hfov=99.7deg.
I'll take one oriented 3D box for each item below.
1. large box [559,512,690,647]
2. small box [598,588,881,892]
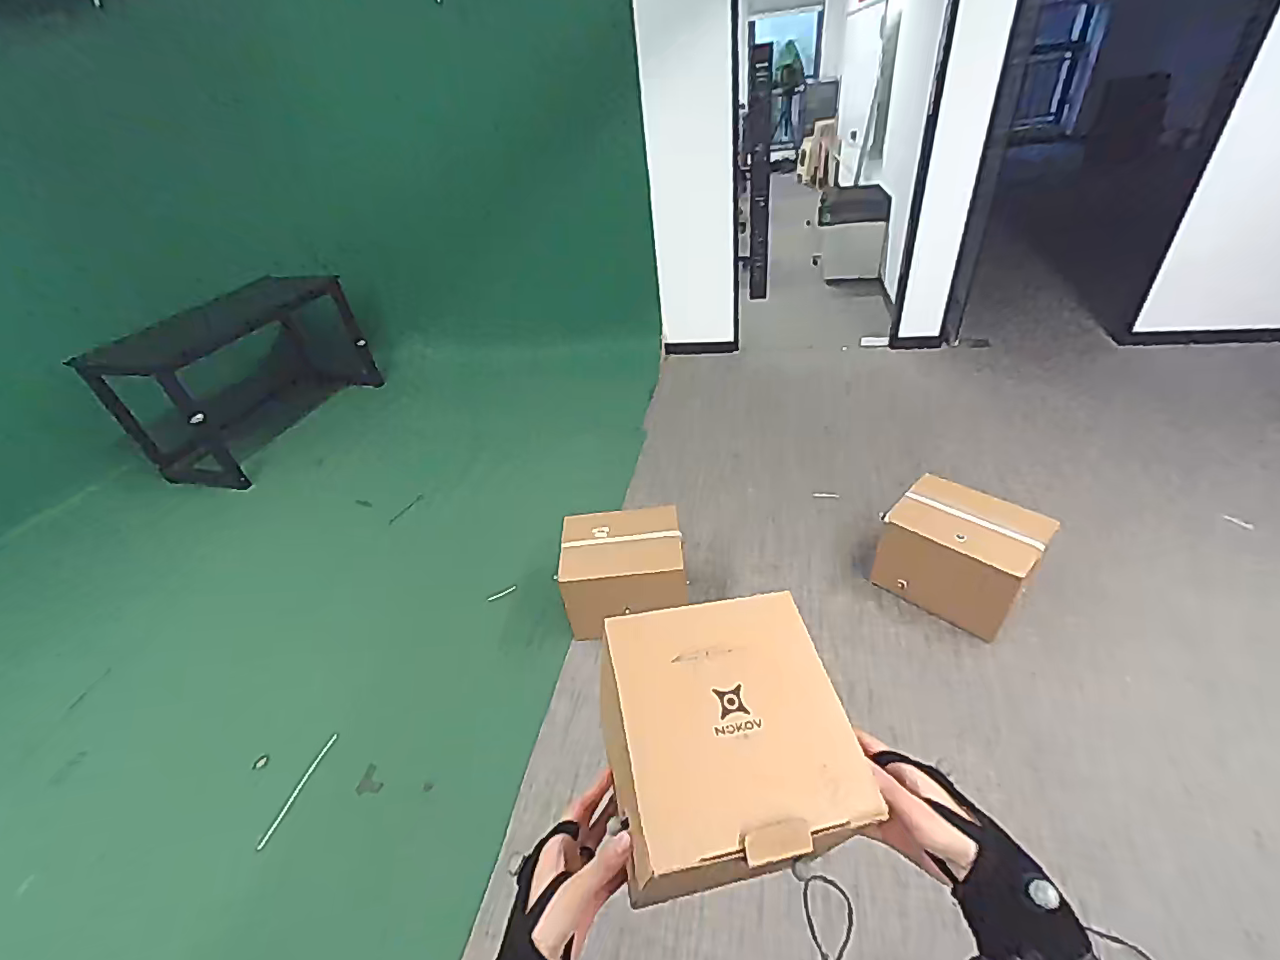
[{"bbox_3d":[-0.044,0.346,1.881,0.408,0.320,0.320,-7,36,3],"label":"large box"},{"bbox_3d":[0.058,0.217,0.449,0.168,0.176,0.179,-5,46,-12],"label":"small box"}]
